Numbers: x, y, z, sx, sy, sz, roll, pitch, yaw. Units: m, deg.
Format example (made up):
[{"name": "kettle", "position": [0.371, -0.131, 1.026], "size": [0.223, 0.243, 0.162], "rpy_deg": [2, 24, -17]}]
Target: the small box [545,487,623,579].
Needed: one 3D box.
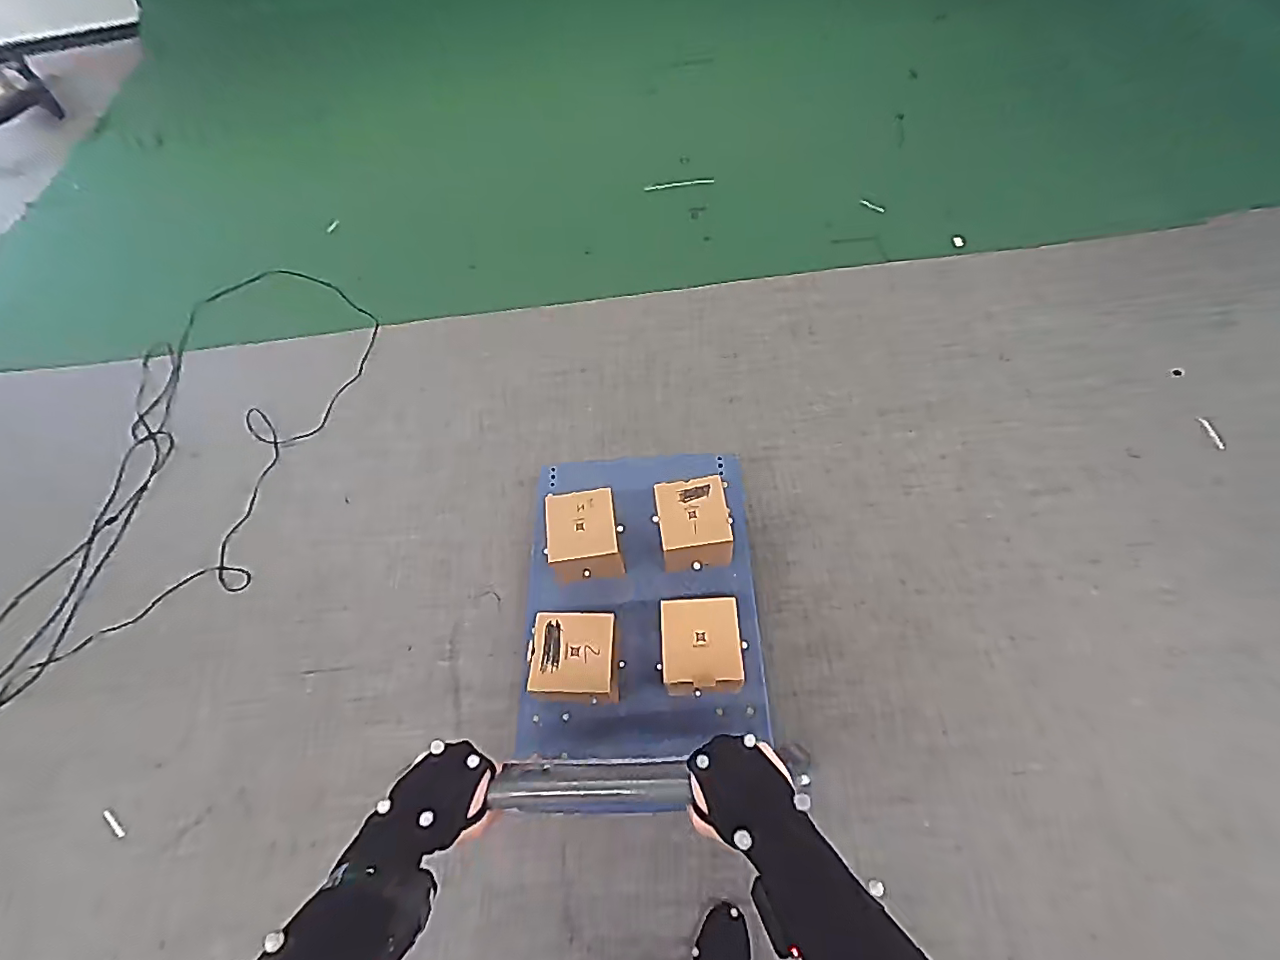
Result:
[{"name": "small box", "position": [-0.138, 0.141, 1.363], "size": [0.168, 0.176, 0.179], "rpy_deg": [-8, 61, 0]}]

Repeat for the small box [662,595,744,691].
[{"name": "small box", "position": [0.135, 0.370, 1.215], "size": [0.168, 0.176, 0.179], "rpy_deg": [-4, 62, 3]}]

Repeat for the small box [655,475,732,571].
[{"name": "small box", "position": [0.130, 0.110, 1.355], "size": [0.168, 0.176, 0.179], "rpy_deg": [-9, 62, 1]}]
